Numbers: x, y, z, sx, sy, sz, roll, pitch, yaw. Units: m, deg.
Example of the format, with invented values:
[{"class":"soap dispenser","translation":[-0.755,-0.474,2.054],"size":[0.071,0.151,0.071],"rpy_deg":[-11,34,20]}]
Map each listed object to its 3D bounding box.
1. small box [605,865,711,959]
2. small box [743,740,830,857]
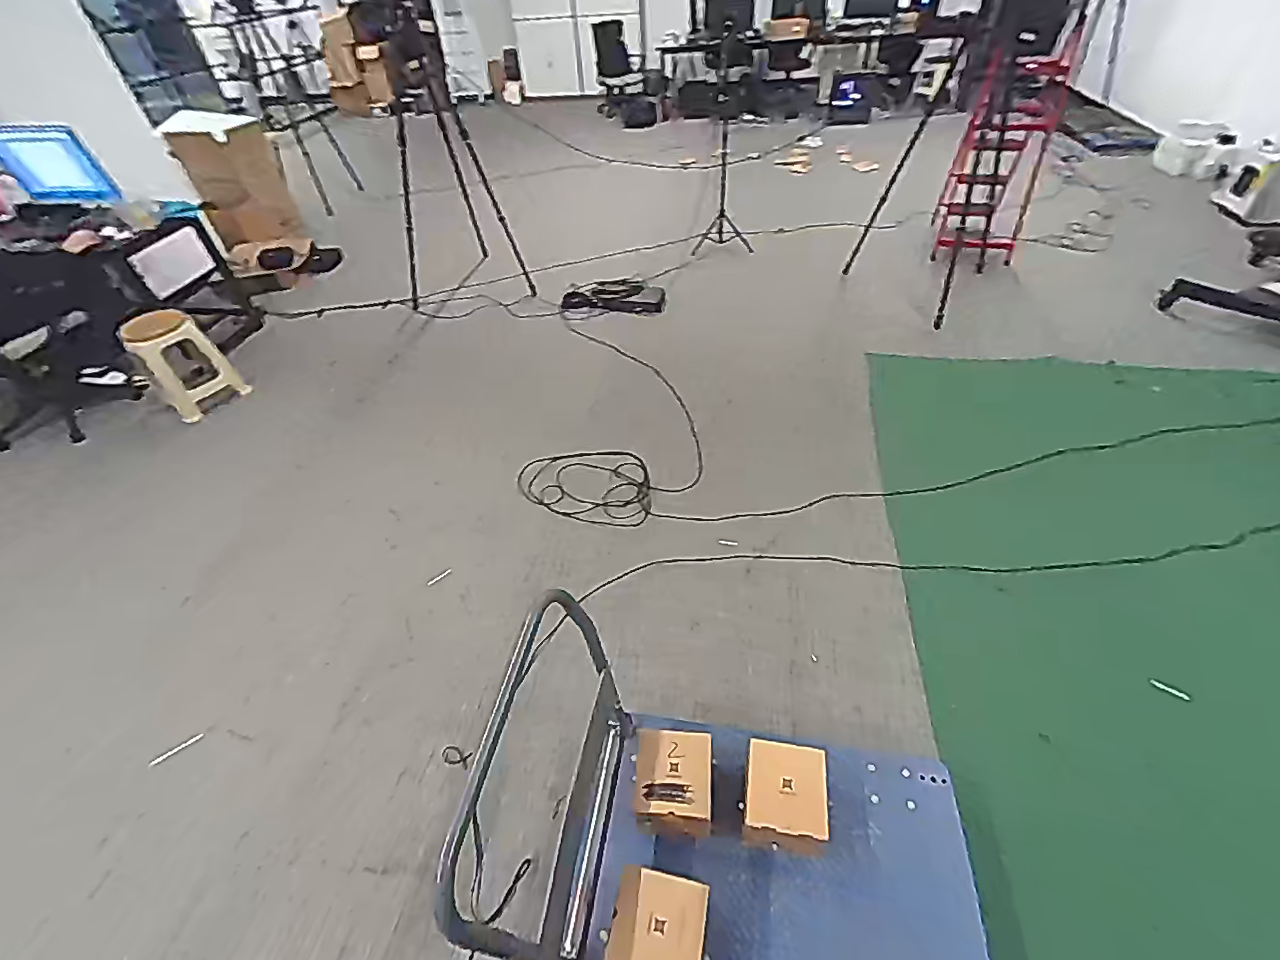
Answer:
[{"class":"small box","translation":[0.041,0.892,1.063],"size":[0.179,0.176,0.168],"rpy_deg":[7,46,11]},{"class":"small box","translation":[0.323,0.716,1.216],"size":[0.168,0.176,0.179],"rpy_deg":[5,47,10]}]
